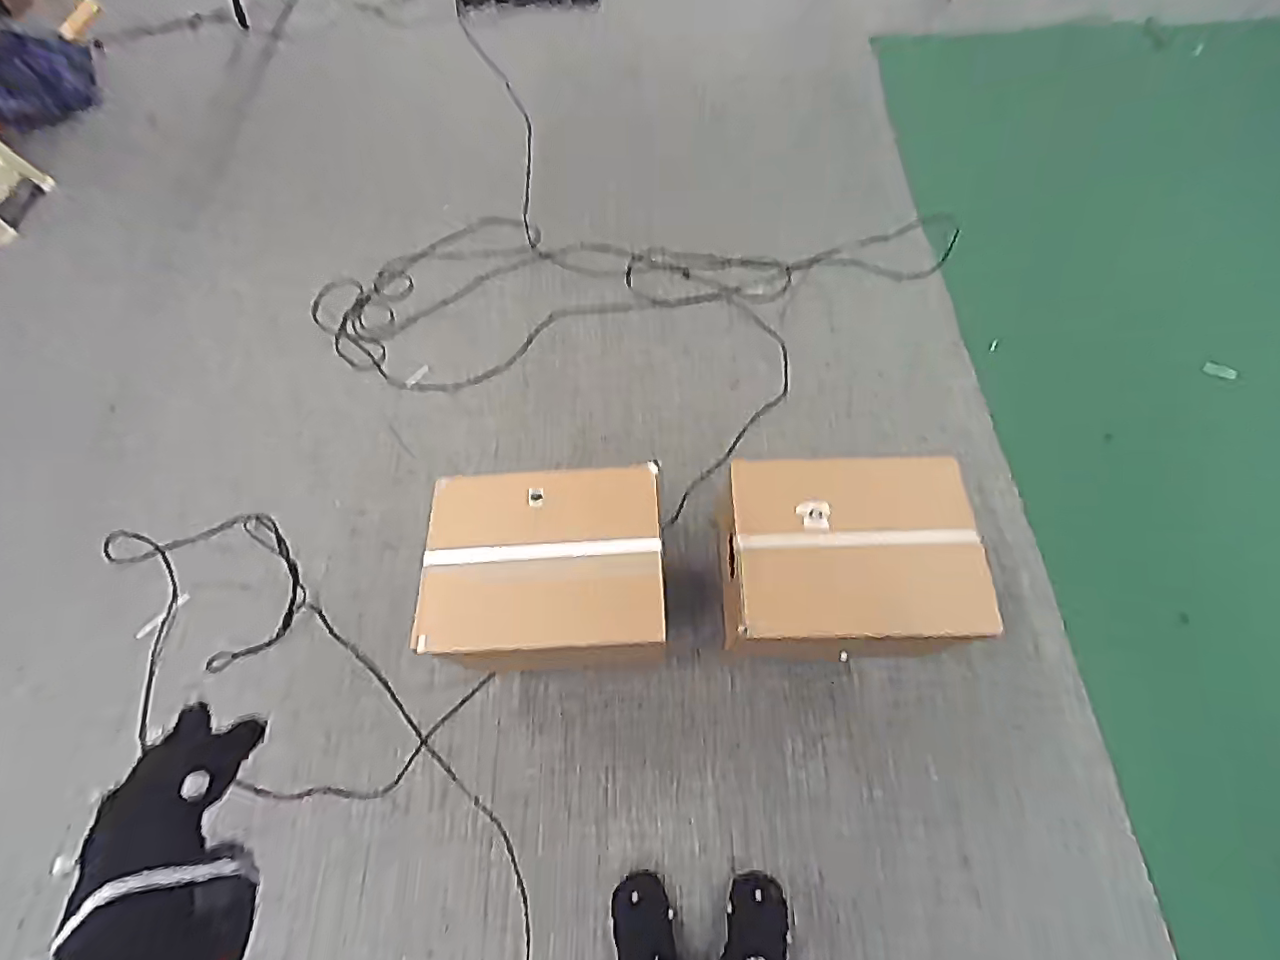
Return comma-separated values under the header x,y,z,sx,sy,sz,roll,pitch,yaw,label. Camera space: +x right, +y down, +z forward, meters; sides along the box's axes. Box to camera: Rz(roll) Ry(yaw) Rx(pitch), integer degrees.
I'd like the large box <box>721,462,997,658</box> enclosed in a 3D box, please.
x,y,z,sx,sy,sz,roll,pitch,yaw,label
0.380,0.174,1.061,0.408,0.320,0.320,-1,65,3,large box
